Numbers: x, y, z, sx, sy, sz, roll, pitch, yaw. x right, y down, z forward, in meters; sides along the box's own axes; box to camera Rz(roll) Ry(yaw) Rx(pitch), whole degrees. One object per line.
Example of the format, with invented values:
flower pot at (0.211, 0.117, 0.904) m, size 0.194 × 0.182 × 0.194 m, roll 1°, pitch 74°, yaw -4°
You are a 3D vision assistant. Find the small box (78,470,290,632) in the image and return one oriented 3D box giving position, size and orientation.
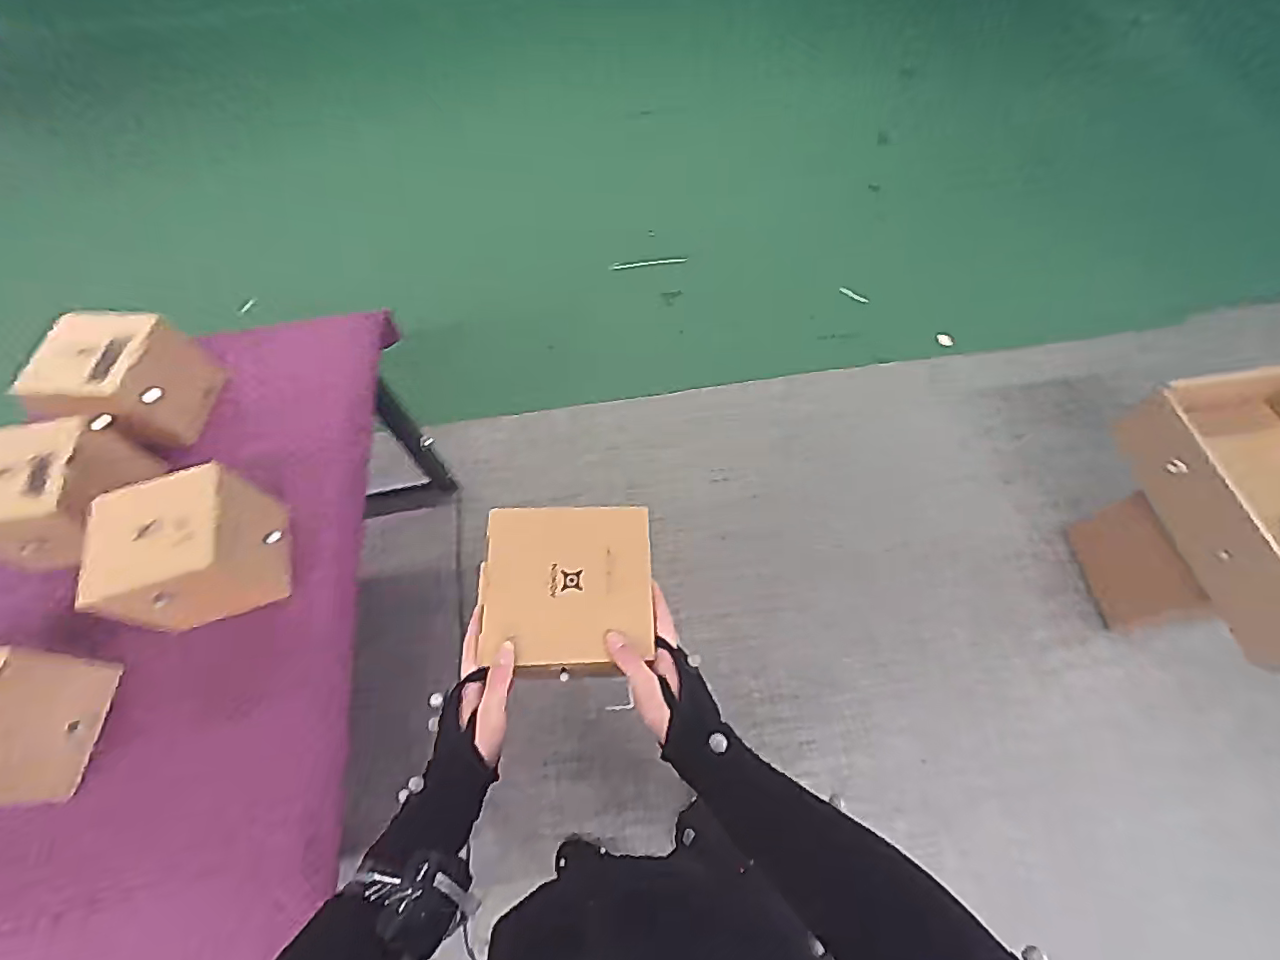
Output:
small box at (-0.667, 0.115, 0.814) m, size 0.179 × 0.176 × 0.168 m, roll -18°, pitch 64°, yaw -6°

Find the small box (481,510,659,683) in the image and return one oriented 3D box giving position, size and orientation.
small box at (-0.073, 0.143, 0.632) m, size 0.179 × 0.176 × 0.168 m, roll 1°, pitch 64°, yaw -4°

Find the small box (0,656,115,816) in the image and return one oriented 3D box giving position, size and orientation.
small box at (-0.859, 0.337, 0.706) m, size 0.168 × 0.176 × 0.179 m, roll -2°, pitch 62°, yaw 1°
